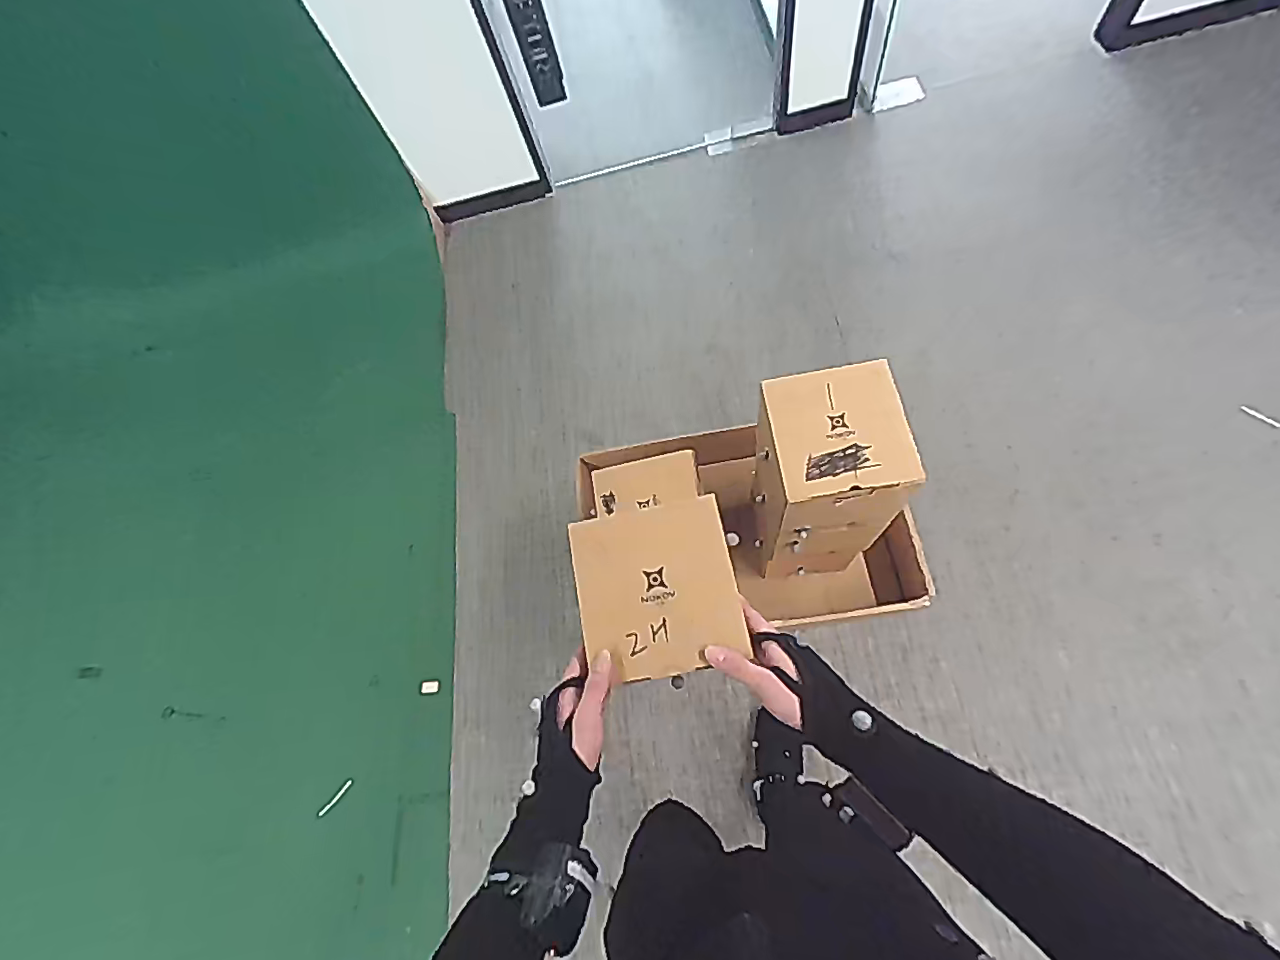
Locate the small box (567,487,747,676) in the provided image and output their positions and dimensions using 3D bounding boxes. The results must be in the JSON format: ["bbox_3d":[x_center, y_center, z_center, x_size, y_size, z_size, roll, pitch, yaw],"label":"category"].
[{"bbox_3d":[0.021,0.127,0.636,0.168,0.176,0.179,-12,71,3],"label":"small box"}]

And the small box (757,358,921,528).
[{"bbox_3d":[0.260,-0.039,0.752,0.168,0.176,0.179,-9,67,7],"label":"small box"}]

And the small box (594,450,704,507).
[{"bbox_3d":[0.029,0.067,0.932,0.179,0.176,0.168,-11,67,5],"label":"small box"}]
